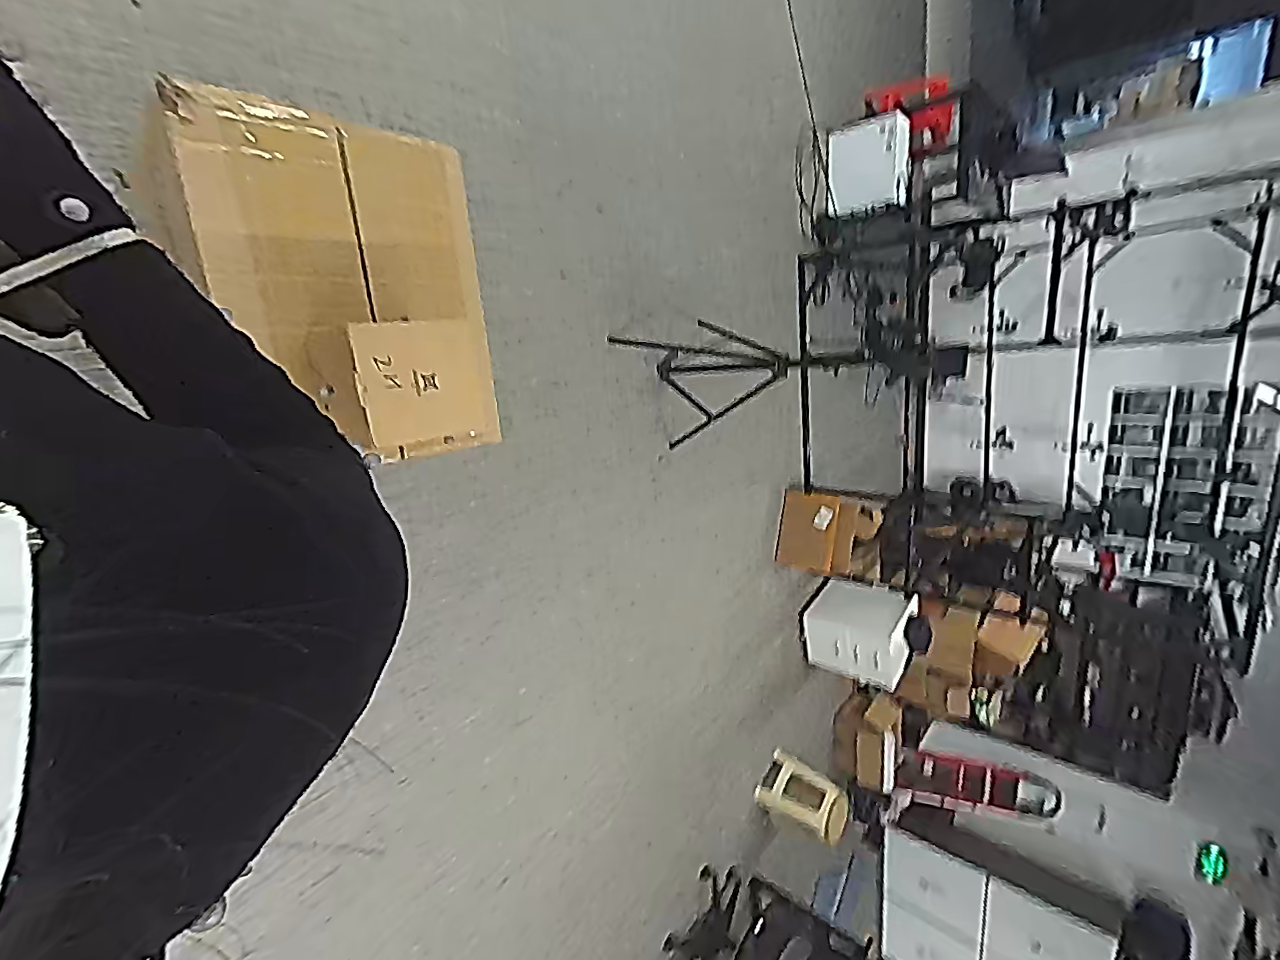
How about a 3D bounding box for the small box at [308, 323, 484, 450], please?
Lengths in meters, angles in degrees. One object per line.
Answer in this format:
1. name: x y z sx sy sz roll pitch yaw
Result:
1. small box: -0.367 -0.144 0.817 0.179 0.176 0.168 -19 108 -44
